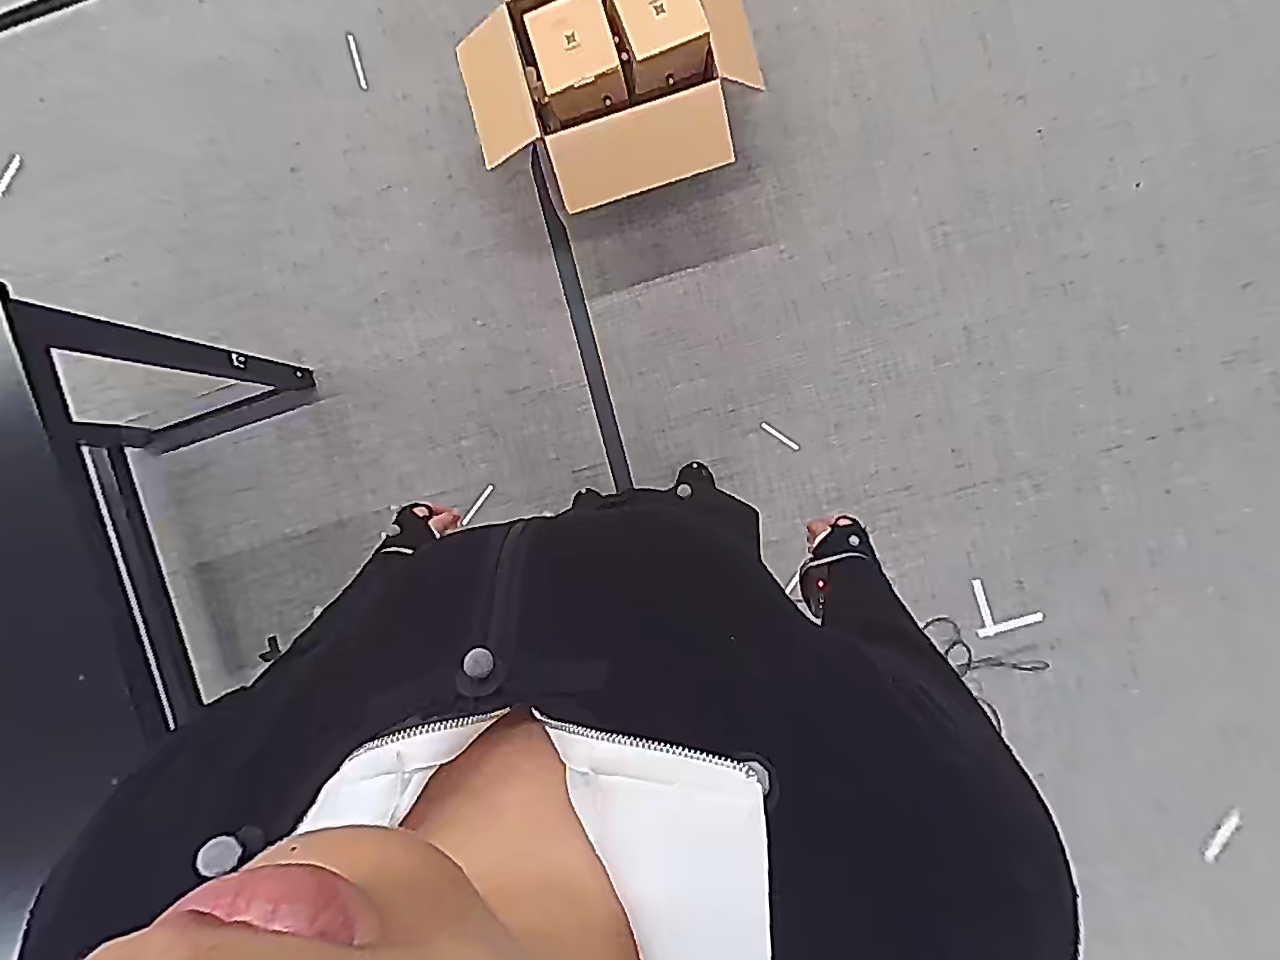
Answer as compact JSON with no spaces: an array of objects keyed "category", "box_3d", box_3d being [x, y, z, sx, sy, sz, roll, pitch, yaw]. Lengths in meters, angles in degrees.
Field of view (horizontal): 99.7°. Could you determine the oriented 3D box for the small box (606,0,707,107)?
[{"category":"small box","box_3d":[0.034,-0.966,1.188,0.168,0.176,0.179,-22,91,0]}]
